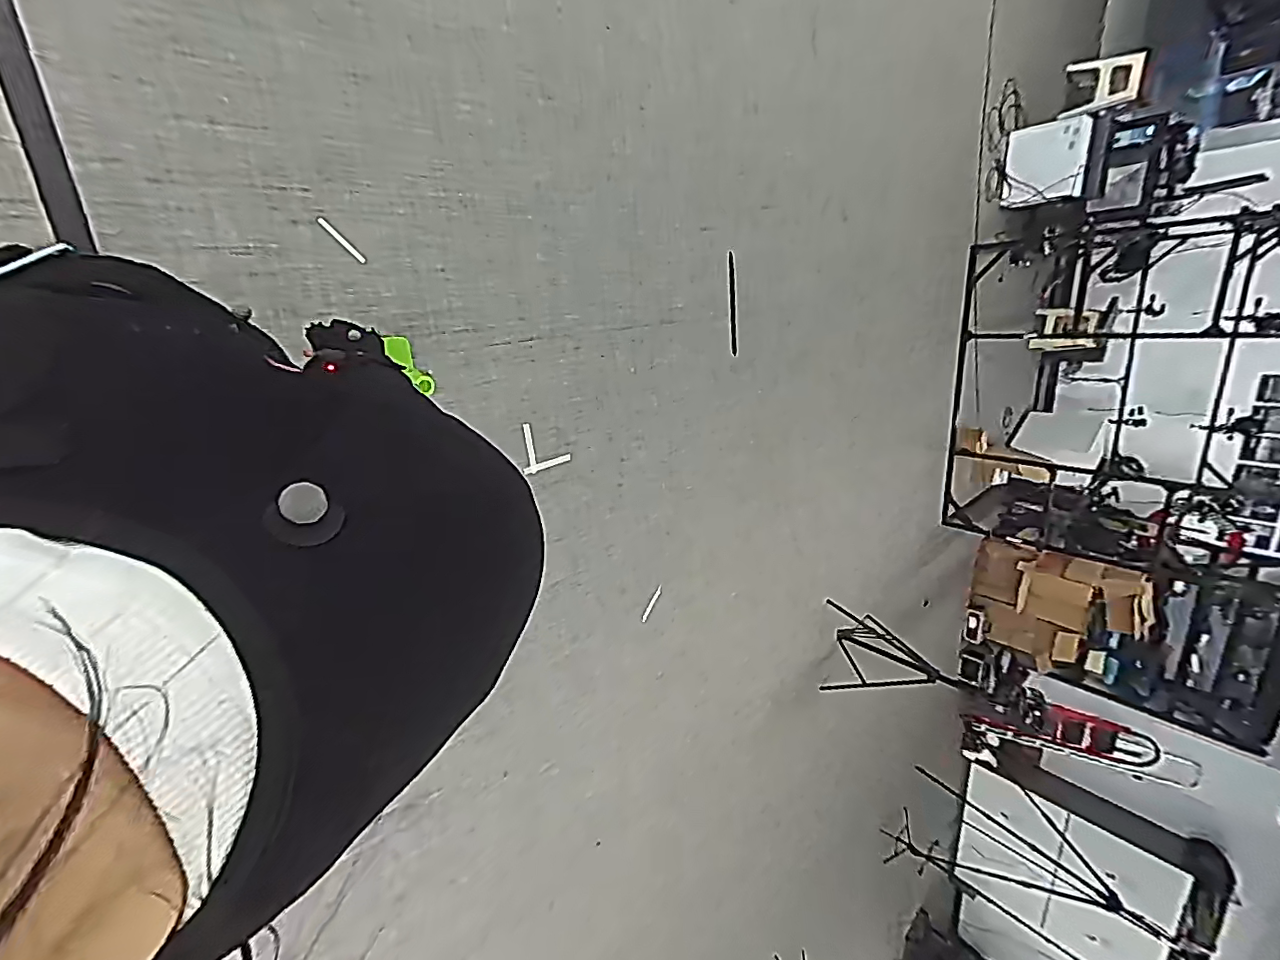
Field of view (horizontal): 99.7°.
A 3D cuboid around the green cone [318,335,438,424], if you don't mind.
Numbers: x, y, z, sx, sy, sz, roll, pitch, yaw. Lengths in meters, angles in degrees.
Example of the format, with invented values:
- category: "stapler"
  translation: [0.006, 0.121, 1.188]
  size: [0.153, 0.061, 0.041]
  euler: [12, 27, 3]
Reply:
- category: "green cone"
  translation: [-0.545, -0.215, 1.201]
  size: [0.202, 0.368, 0.200]
  euler: [-19, 113, -39]

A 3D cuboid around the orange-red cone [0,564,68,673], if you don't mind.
- category: "orange-red cone"
  translation: [-1.079, 0.290, 0.849]
  size: [0.199, 0.360, 0.198]
  euler: [-13, 108, -38]
